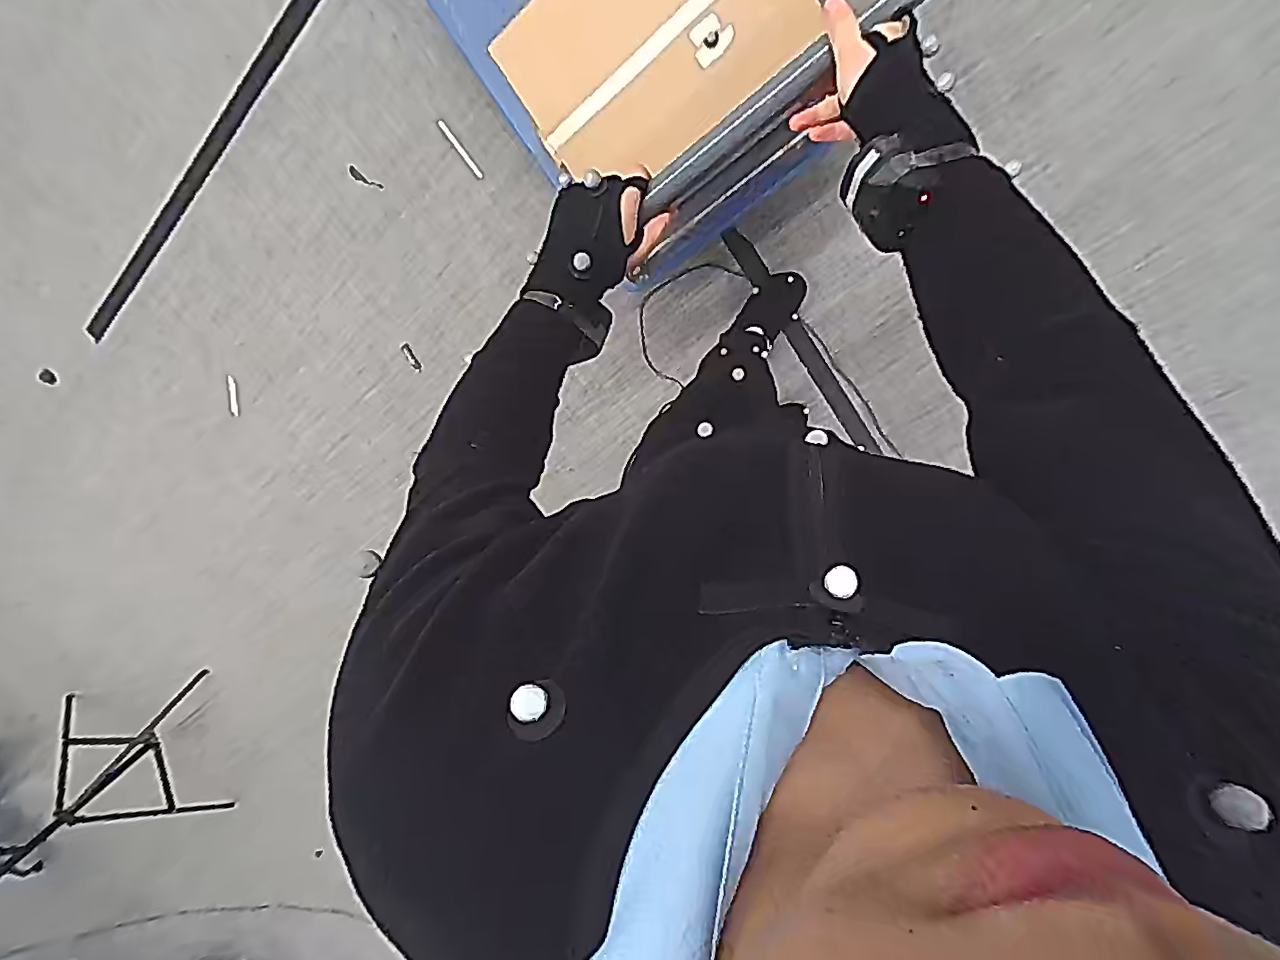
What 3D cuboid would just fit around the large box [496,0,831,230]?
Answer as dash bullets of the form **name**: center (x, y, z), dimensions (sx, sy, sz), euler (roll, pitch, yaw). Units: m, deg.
- **large box**: center (0.044, -0.690, 0.915), dimensions (0.408, 0.320, 0.320), euler (-32, 105, 20)
